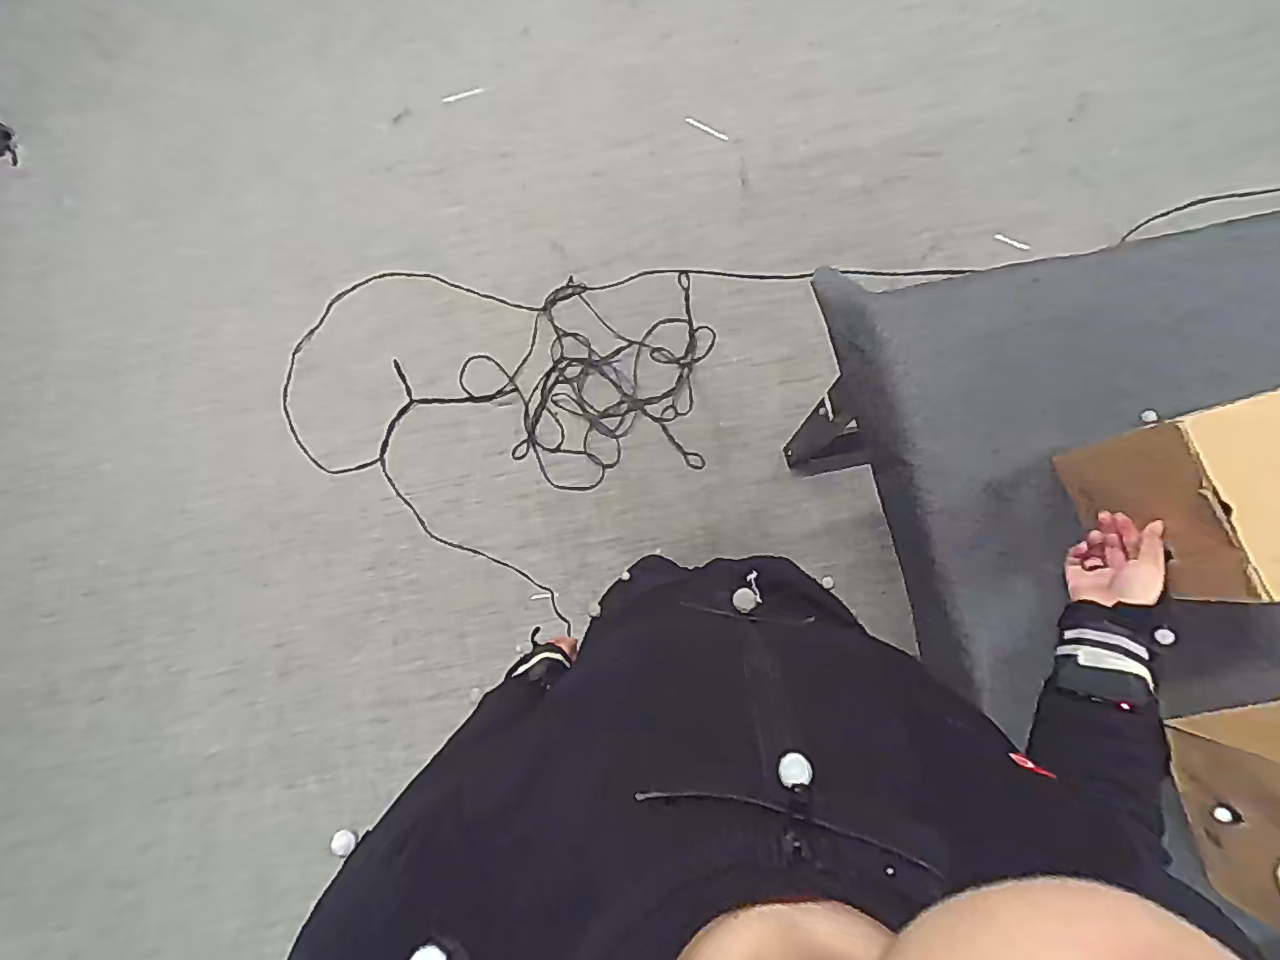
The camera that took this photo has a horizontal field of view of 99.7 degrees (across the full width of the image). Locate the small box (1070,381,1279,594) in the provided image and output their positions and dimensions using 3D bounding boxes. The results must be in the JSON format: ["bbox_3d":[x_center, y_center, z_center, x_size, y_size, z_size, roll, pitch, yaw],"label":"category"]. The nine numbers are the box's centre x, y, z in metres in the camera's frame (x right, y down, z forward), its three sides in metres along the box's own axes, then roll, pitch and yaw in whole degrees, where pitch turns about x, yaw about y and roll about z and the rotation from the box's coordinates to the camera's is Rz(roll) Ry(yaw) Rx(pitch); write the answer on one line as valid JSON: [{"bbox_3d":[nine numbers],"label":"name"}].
[{"bbox_3d":[0.575,0.006,0.530,0.179,0.176,0.168,-18,81,1],"label":"small box"}]

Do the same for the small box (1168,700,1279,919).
[{"bbox_3d":[0.646,0.302,0.476,0.179,0.176,0.168,-12,80,3],"label":"small box"}]
